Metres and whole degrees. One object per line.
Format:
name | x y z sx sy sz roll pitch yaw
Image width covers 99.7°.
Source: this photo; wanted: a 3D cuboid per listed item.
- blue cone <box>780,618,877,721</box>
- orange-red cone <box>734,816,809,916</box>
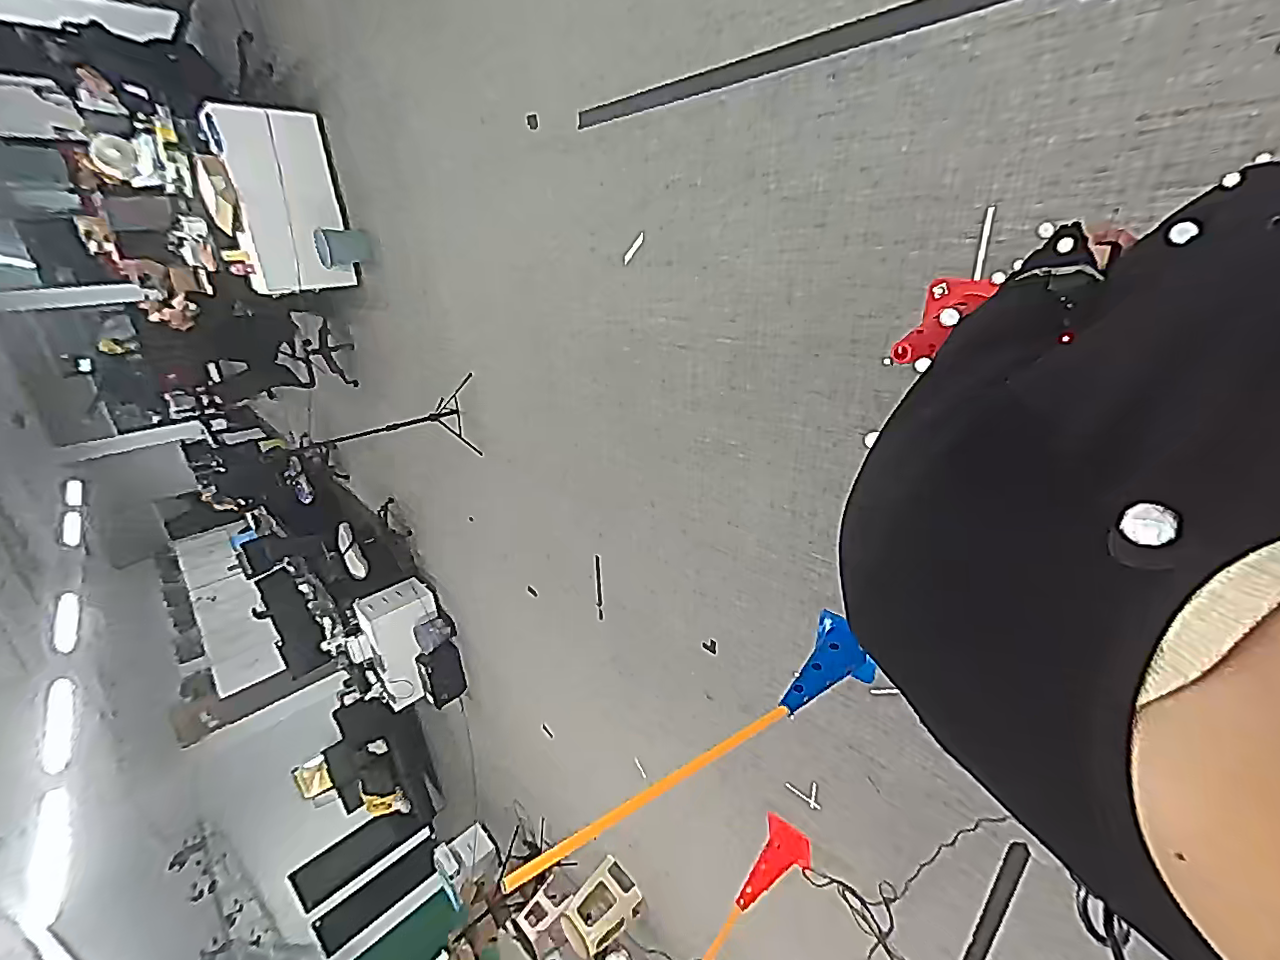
blue cone | 0.540 0.593 1.626 0.193 0.380 0.192 25 126 41
orange-red cone | 0.494 1.573 2.147 0.199 0.360 0.198 15 119 44
